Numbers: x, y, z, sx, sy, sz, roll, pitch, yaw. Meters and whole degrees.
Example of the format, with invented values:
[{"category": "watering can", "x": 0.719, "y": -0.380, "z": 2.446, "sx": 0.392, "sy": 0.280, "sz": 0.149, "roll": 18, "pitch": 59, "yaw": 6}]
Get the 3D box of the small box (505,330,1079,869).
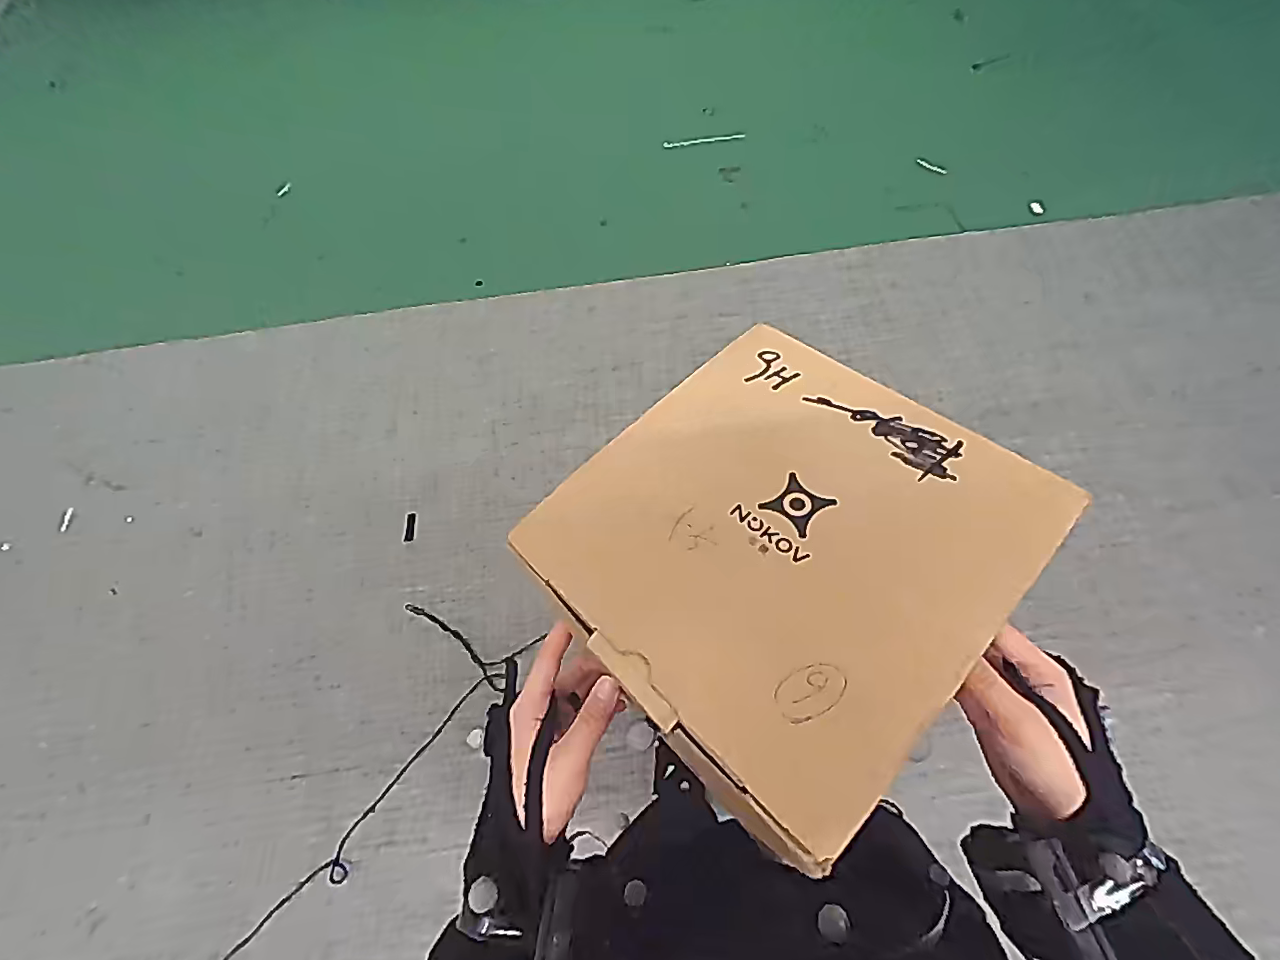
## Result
[{"category": "small box", "x": 0.067, "y": 0.063, "z": 0.288, "sx": 0.179, "sy": 0.176, "sz": 0.168, "roll": -41, "pitch": 60, "yaw": -17}]
